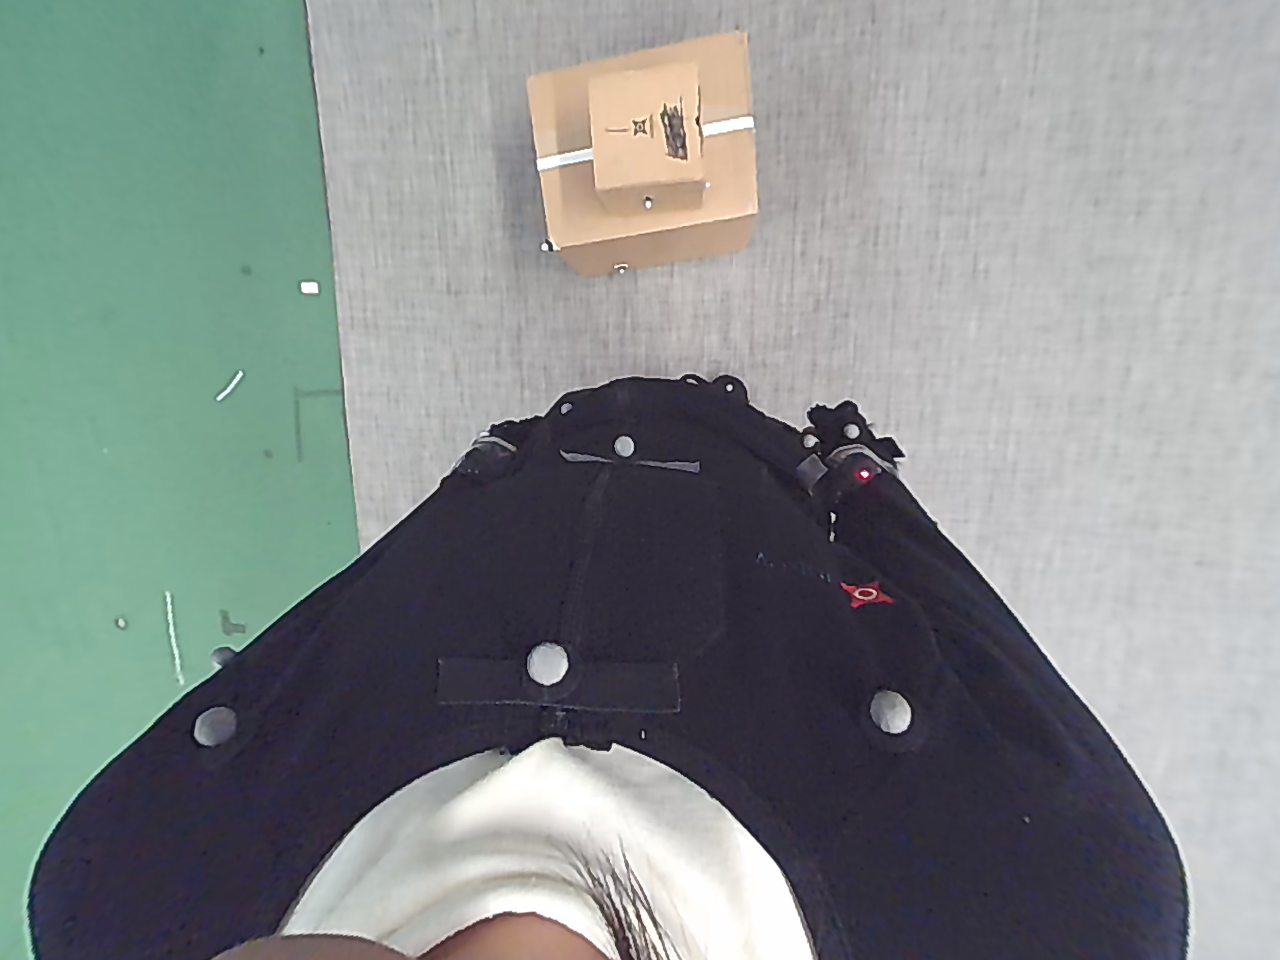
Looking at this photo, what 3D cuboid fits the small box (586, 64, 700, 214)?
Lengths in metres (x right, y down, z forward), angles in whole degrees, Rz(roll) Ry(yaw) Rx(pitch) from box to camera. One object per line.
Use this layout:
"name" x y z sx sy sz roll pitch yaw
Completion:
"small box" 0.013 -0.575 0.935 0.179 0.176 0.168 -2 101 8
